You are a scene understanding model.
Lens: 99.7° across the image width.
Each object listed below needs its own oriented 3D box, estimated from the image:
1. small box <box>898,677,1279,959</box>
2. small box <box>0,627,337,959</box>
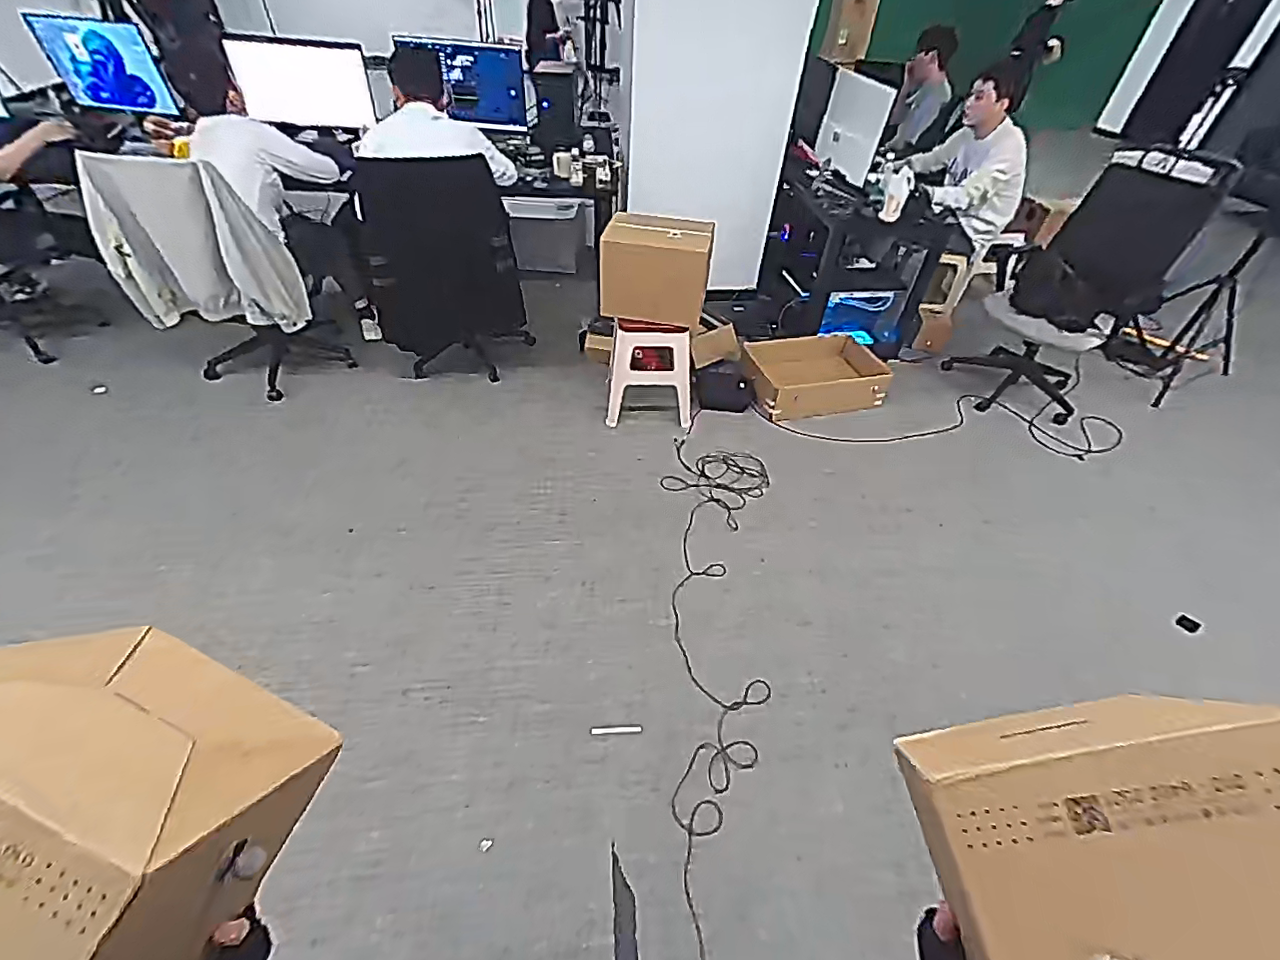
[{"bbox_3d":[0.258,0.209,0.291,0.168,0.179,0.176,-17,67,13],"label":"small box"},{"bbox_3d":[-0.308,0.192,0.281,0.168,0.179,0.176,30,80,1],"label":"small box"}]
